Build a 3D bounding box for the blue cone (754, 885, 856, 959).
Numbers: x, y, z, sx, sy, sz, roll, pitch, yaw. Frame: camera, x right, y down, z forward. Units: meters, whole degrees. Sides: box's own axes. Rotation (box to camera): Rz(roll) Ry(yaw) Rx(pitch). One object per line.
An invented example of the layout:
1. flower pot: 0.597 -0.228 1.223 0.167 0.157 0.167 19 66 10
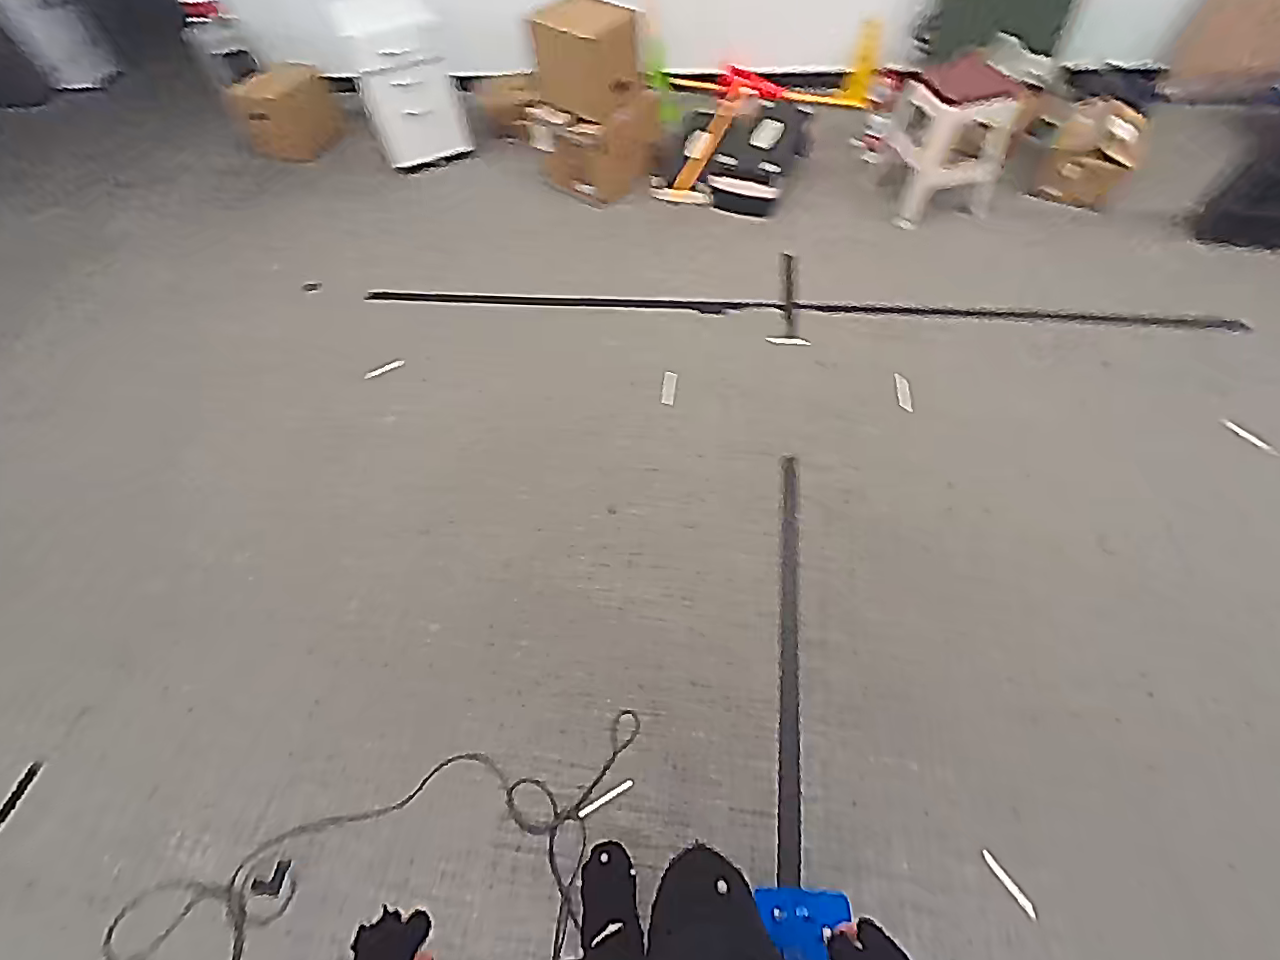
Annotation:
1. blue cone: 0.320 0.842 0.944 0.192 0.380 0.193 3 58 4
